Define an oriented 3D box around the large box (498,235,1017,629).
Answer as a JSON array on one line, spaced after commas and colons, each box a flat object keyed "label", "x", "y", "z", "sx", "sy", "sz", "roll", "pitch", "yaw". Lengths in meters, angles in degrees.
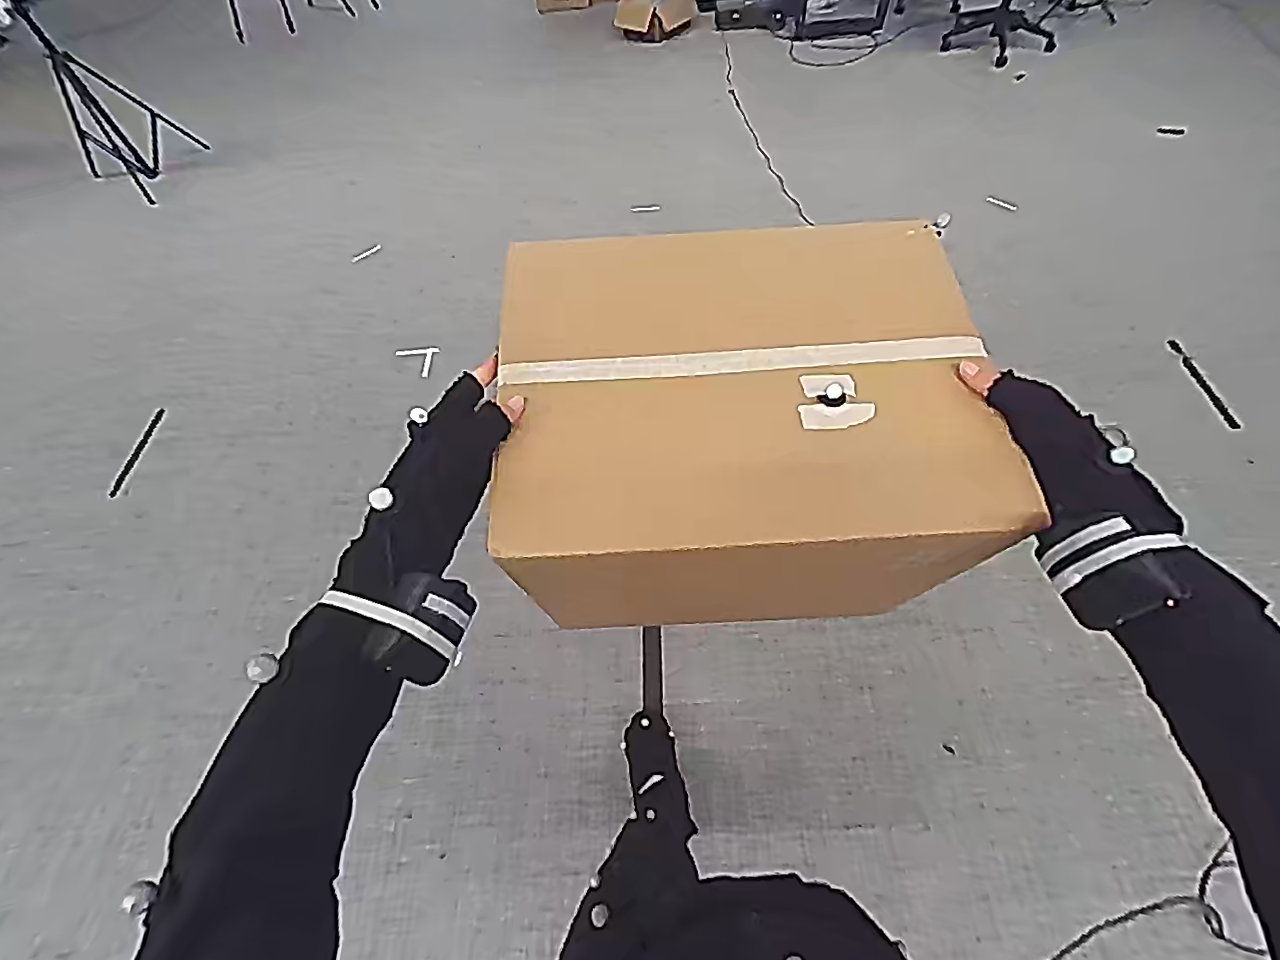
[{"label": "large box", "x": 0.083, "y": -0.029, "z": 0.604, "sx": 0.408, "sy": 0.320, "sz": 0.320, "roll": -3, "pitch": 65, "yaw": 0}]
